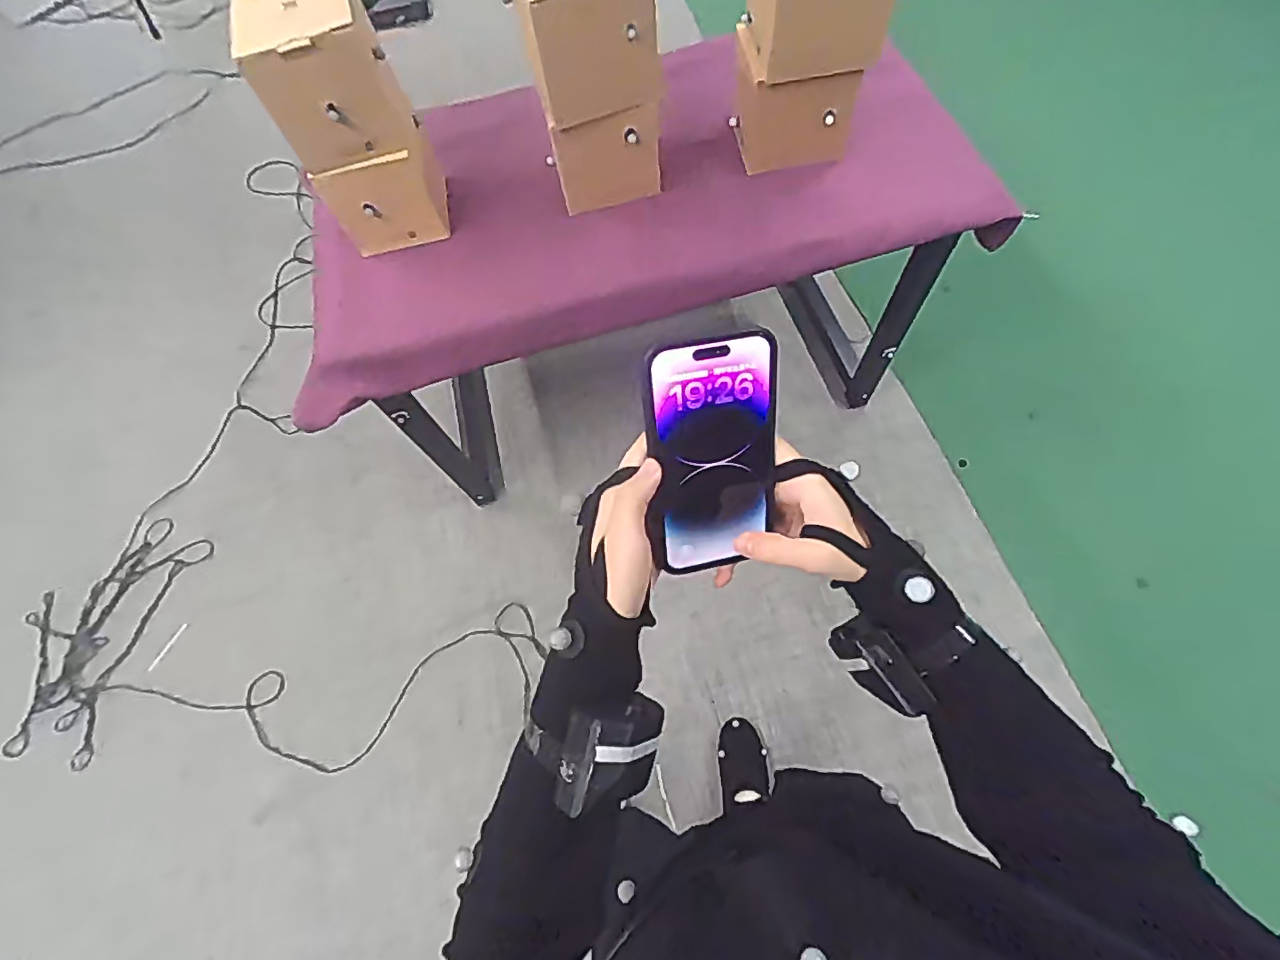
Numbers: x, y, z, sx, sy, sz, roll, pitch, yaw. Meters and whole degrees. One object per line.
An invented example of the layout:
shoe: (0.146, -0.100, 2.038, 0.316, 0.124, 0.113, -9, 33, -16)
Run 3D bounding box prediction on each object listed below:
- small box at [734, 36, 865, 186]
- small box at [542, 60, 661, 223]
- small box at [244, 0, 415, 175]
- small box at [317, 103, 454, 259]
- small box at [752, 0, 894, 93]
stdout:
small box: (0.272, -0.661, 0.965, 0.179, 0.176, 0.168, -8, 65, 2)
small box: (-0.062, -0.596, 0.965, 0.179, 0.176, 0.168, -13, 65, -1)
small box: (-0.462, -0.598, 0.825, 0.168, 0.176, 0.179, -17, 66, -3)
small box: (-0.446, -0.523, 0.970, 0.168, 0.176, 0.179, -13, 65, 0)
small box: (0.270, -0.717, 0.811, 0.179, 0.176, 0.168, -8, 65, 1)
